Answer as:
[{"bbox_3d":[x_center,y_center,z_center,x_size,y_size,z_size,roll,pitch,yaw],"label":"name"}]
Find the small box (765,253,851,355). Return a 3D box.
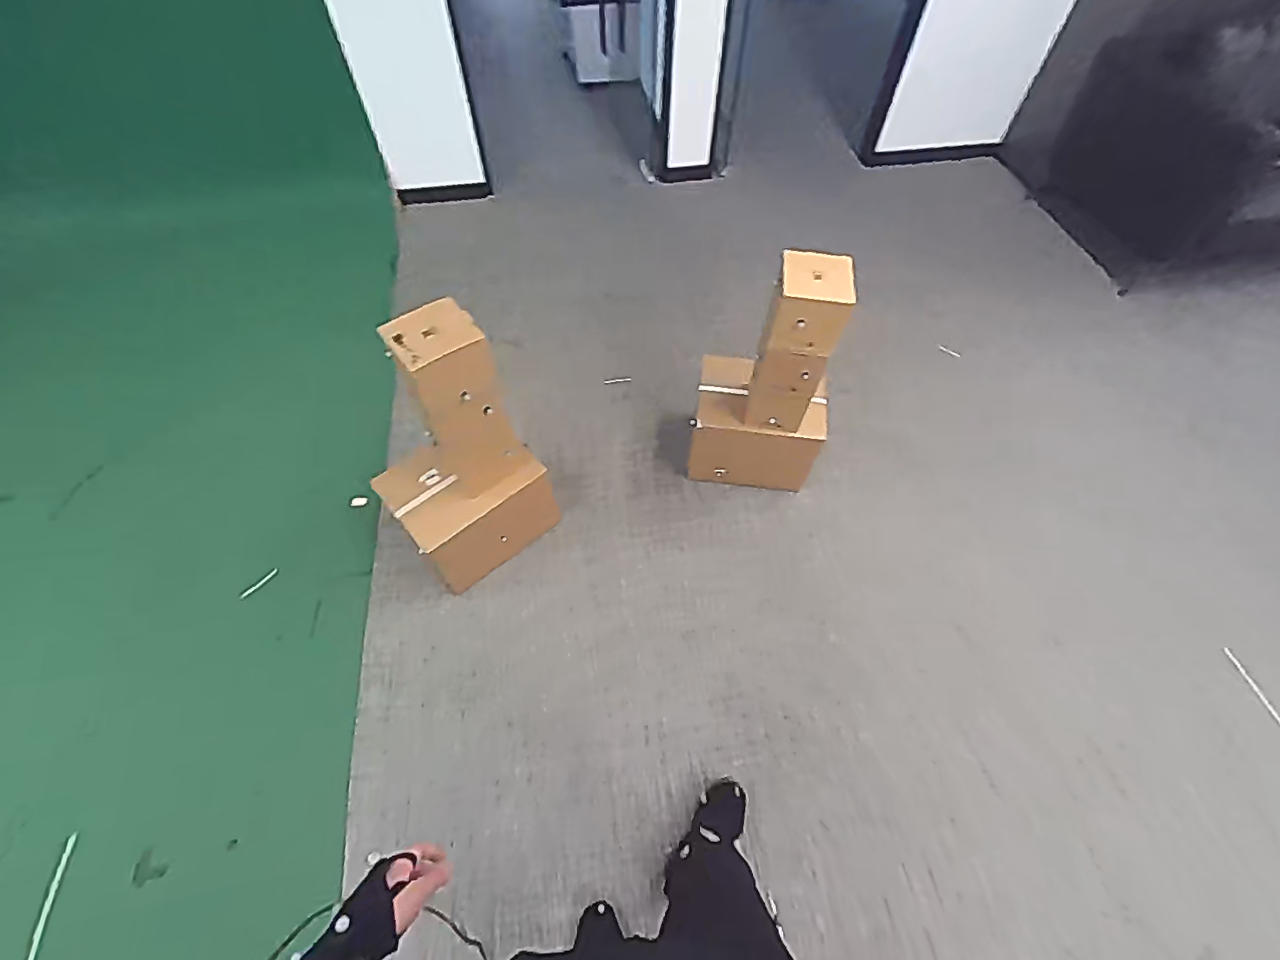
[{"bbox_3d":[0.413,-0.434,1.351,0.168,0.176,0.179,7,57,3],"label":"small box"}]

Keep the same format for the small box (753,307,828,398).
[{"bbox_3d":[0.409,-0.347,1.487,0.168,0.176,0.179,8,58,3],"label":"small box"}]

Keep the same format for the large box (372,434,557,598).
[{"bbox_3d":[-0.518,0.085,1.674,0.408,0.320,0.320,-39,64,-22],"label":"large box"}]

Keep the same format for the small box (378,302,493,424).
[{"bbox_3d":[-0.447,-0.260,1.214,0.179,0.176,0.168,-33,63,-21],"label":"small box"}]

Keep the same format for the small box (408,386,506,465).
[{"bbox_3d":[-0.452,-0.171,1.352,0.179,0.176,0.168,-33,63,-20],"label":"small box"}]

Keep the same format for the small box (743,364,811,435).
[{"bbox_3d":[0.411,-0.264,1.627,0.168,0.176,0.179,9,59,5],"label":"small box"}]
